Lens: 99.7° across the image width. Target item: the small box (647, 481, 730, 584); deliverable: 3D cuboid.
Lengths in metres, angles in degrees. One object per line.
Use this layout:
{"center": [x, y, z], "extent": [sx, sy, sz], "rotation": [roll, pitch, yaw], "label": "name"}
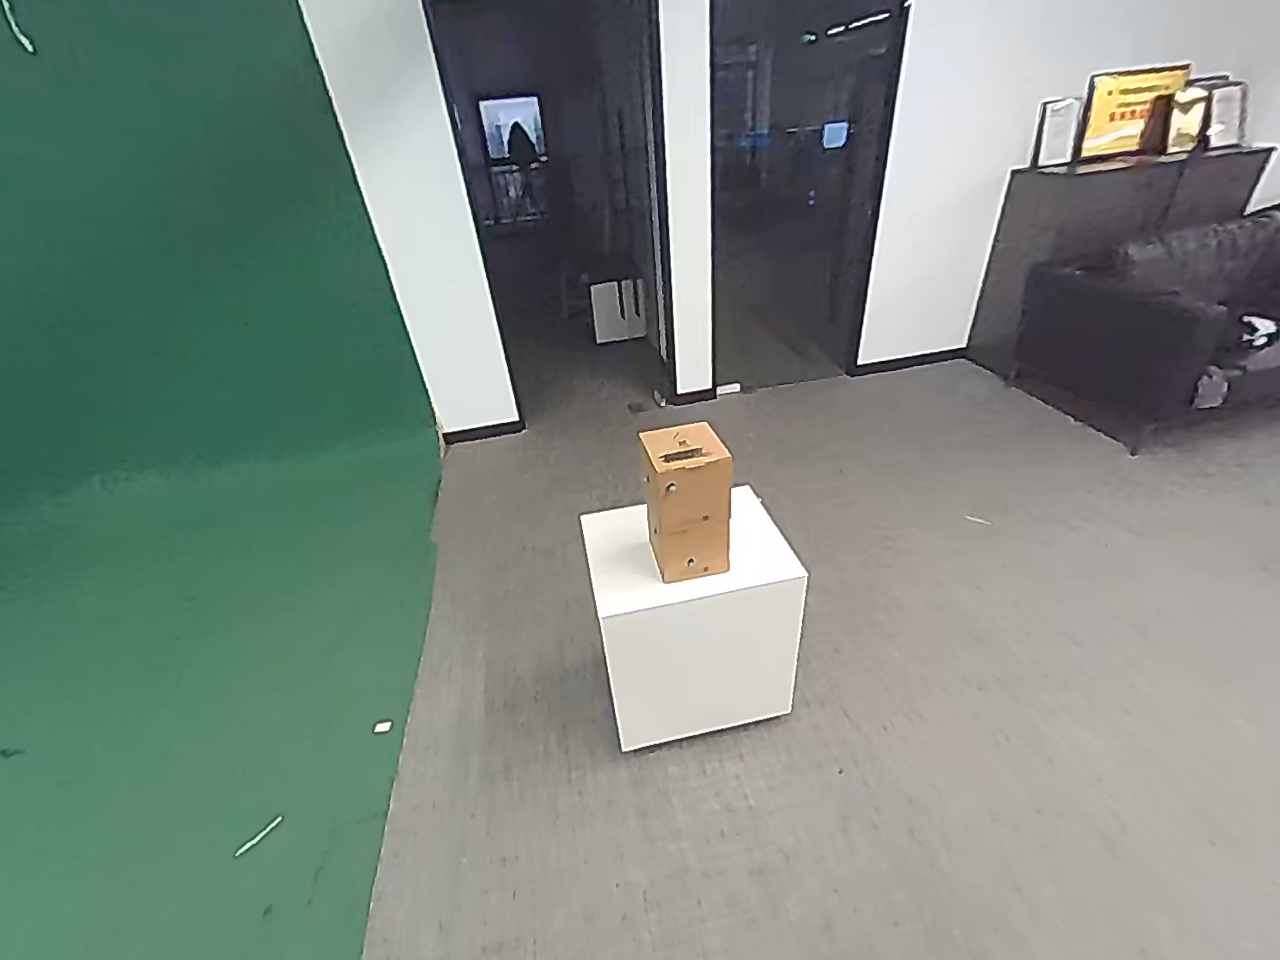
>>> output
{"center": [0.114, 0.126, 1.321], "extent": [0.168, 0.176, 0.179], "rotation": [-10, 33, -7], "label": "small box"}
